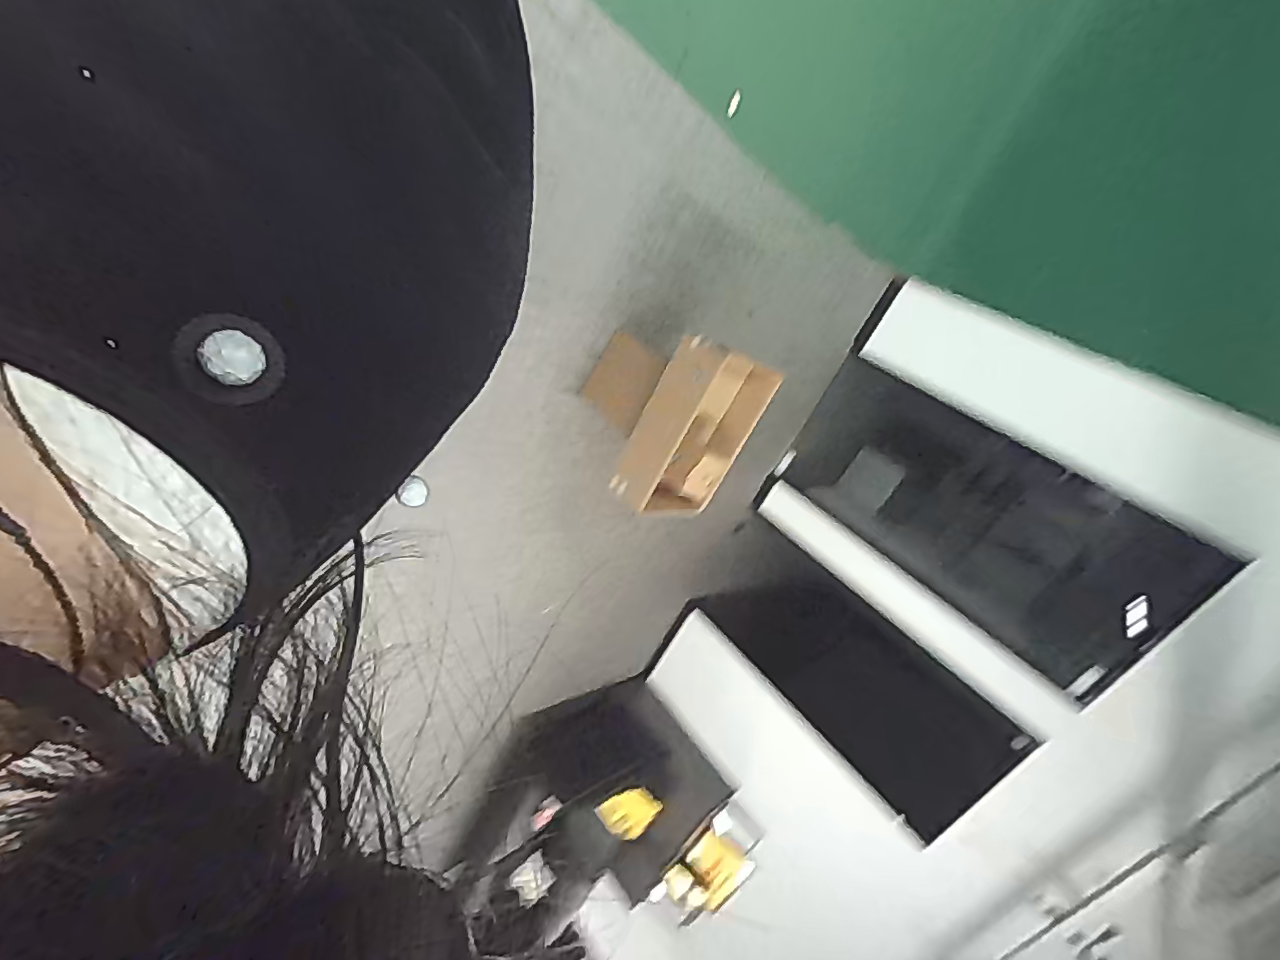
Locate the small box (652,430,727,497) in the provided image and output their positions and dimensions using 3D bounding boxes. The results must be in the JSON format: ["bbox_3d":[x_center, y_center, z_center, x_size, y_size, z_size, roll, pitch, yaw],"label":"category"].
[{"bbox_3d":[0.175,-0.061,1.958,0.179,0.176,0.168,18,110,-54],"label":"small box"}]
